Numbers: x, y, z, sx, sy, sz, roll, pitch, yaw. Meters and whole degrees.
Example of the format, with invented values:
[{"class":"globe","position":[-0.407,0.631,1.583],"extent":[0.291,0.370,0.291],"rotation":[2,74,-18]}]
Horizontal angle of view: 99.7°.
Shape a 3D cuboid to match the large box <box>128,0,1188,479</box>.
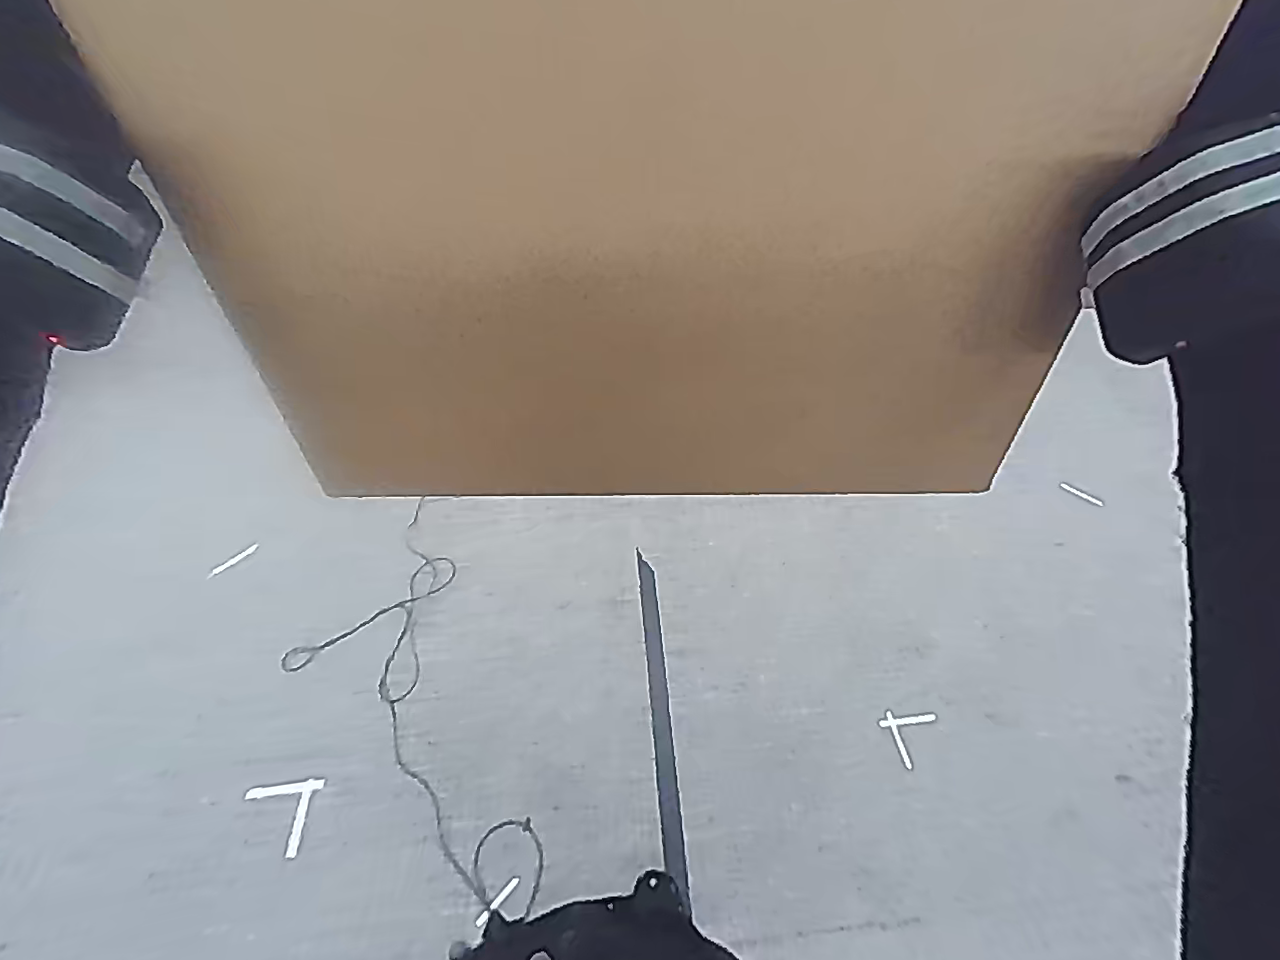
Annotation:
[{"class":"large box","position":[0.007,-0.212,0.361],"extent":[0.408,0.320,0.320],"rotation":[0,41,1]}]
